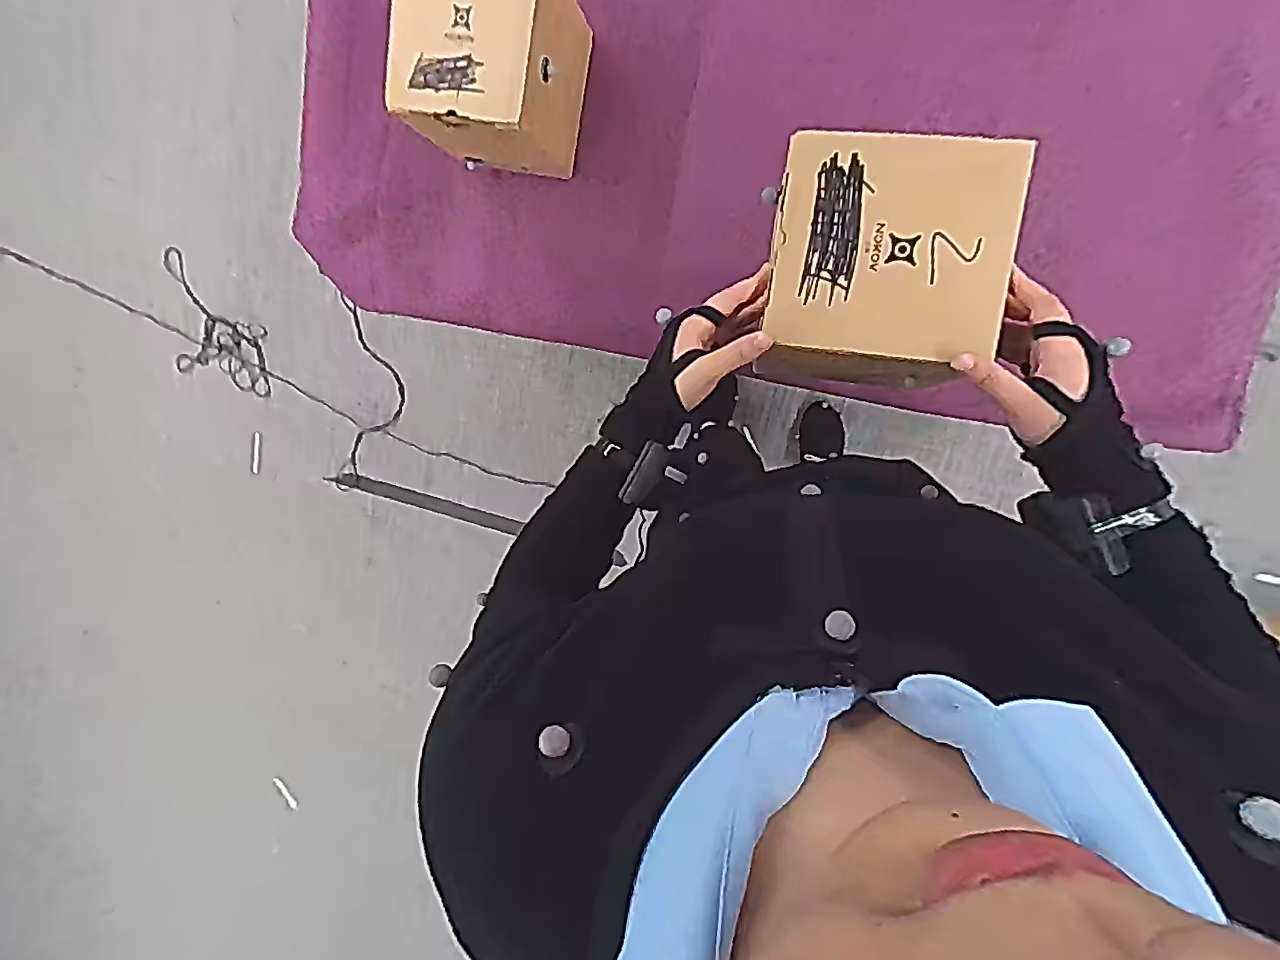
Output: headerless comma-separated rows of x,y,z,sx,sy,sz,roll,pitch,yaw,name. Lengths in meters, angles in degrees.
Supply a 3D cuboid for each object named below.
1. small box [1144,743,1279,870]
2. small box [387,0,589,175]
1.344,0.745,1.254,0.179,0.176,0.168,9,102,11,small box
-0.170,-0.491,0.645,0.168,0.176,0.179,13,103,9,small box
